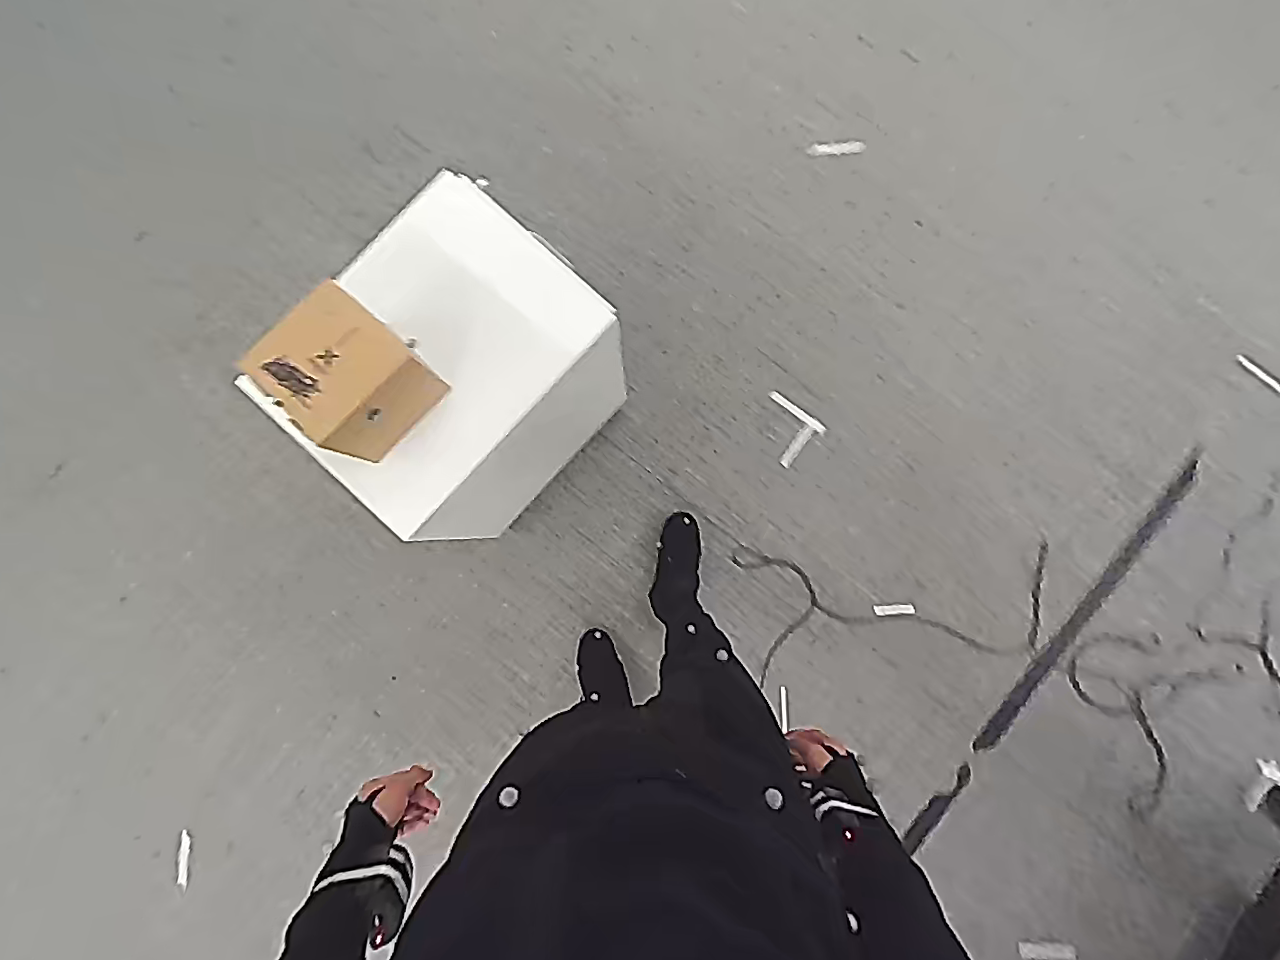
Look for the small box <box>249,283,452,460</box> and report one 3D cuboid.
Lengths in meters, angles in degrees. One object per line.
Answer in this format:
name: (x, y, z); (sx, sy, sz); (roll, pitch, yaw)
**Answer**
small box: (-0.420, -0.150, 0.820); (0.168, 0.176, 0.179); (44, 85, 4)
